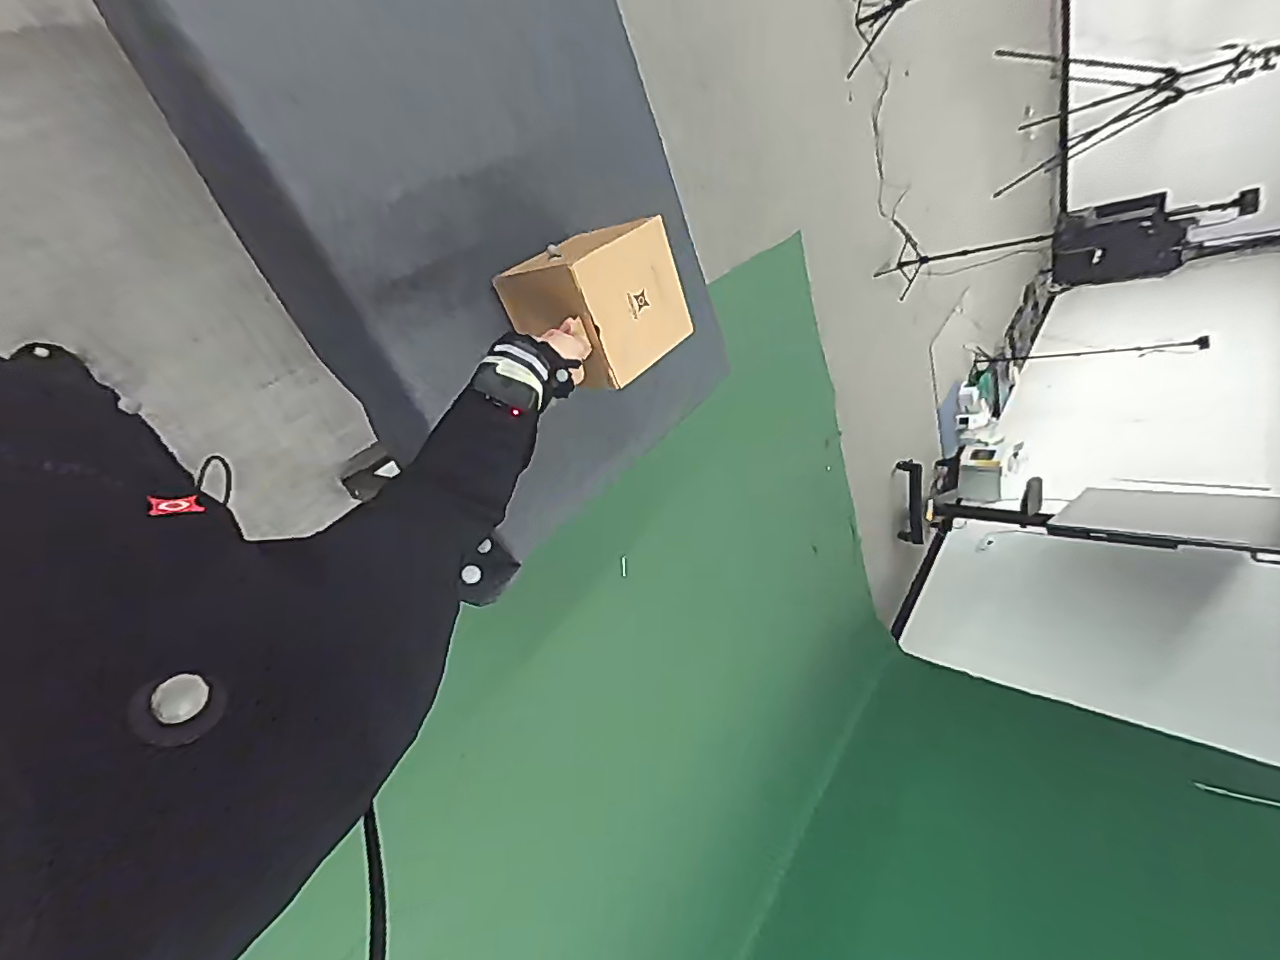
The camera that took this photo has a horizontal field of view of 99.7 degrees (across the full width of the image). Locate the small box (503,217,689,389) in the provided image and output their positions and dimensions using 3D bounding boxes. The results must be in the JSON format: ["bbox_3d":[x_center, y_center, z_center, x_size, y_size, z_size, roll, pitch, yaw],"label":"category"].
[{"bbox_3d":[-0.065,-0.238,0.749,0.179,0.176,0.168,-45,129,-33],"label":"small box"}]
